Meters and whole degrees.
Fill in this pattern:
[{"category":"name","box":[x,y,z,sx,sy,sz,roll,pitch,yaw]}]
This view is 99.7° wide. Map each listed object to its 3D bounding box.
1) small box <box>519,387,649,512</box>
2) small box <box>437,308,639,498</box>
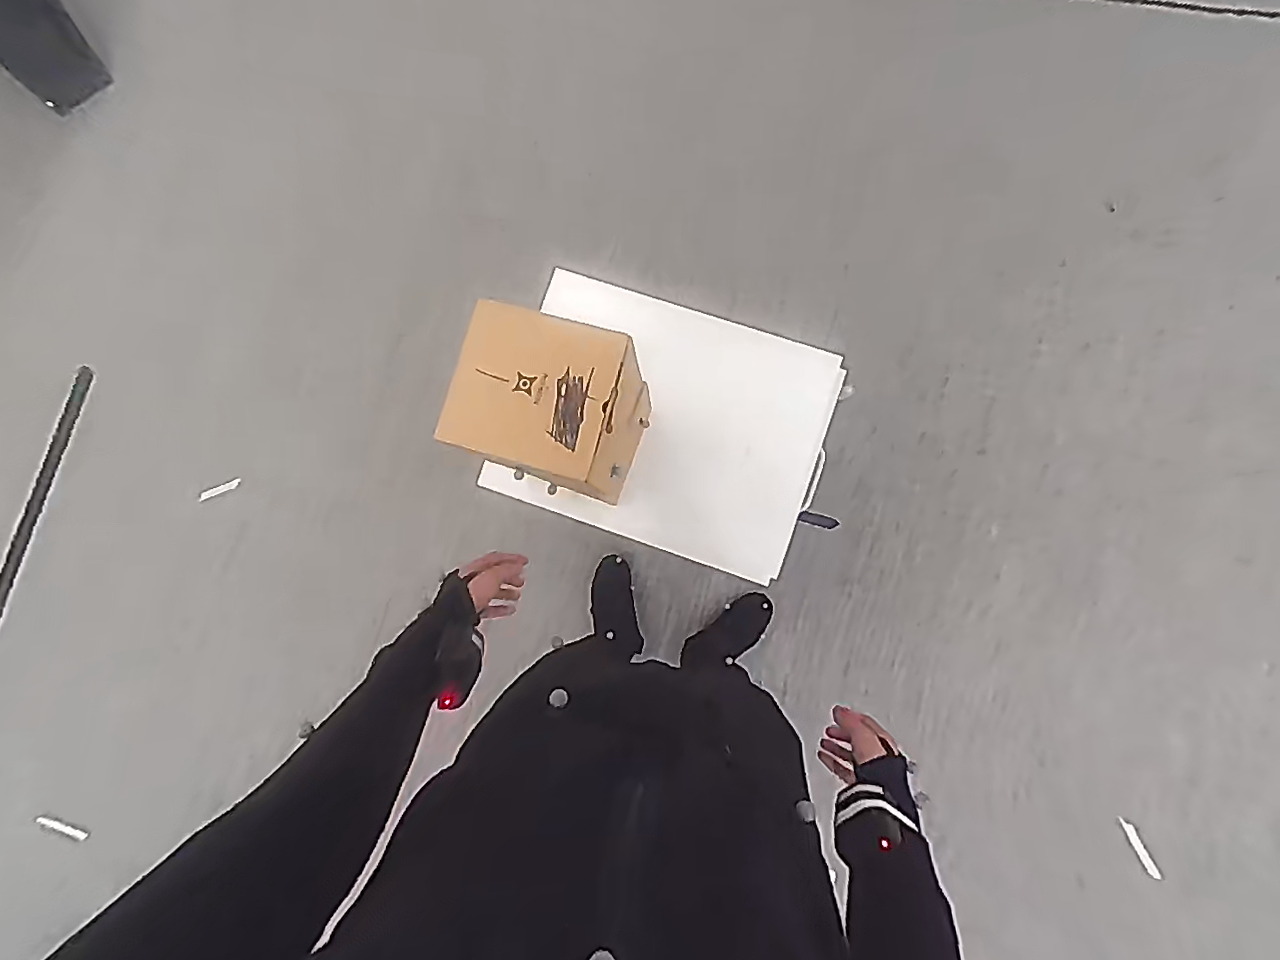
[{"category":"small box","box":[-0.090,-0.061,0.815,0.168,0.176,0.179,20,86,6]},{"category":"small box","box":[-0.106,-0.080,0.653,0.179,0.176,0.168,16,84,7]}]
